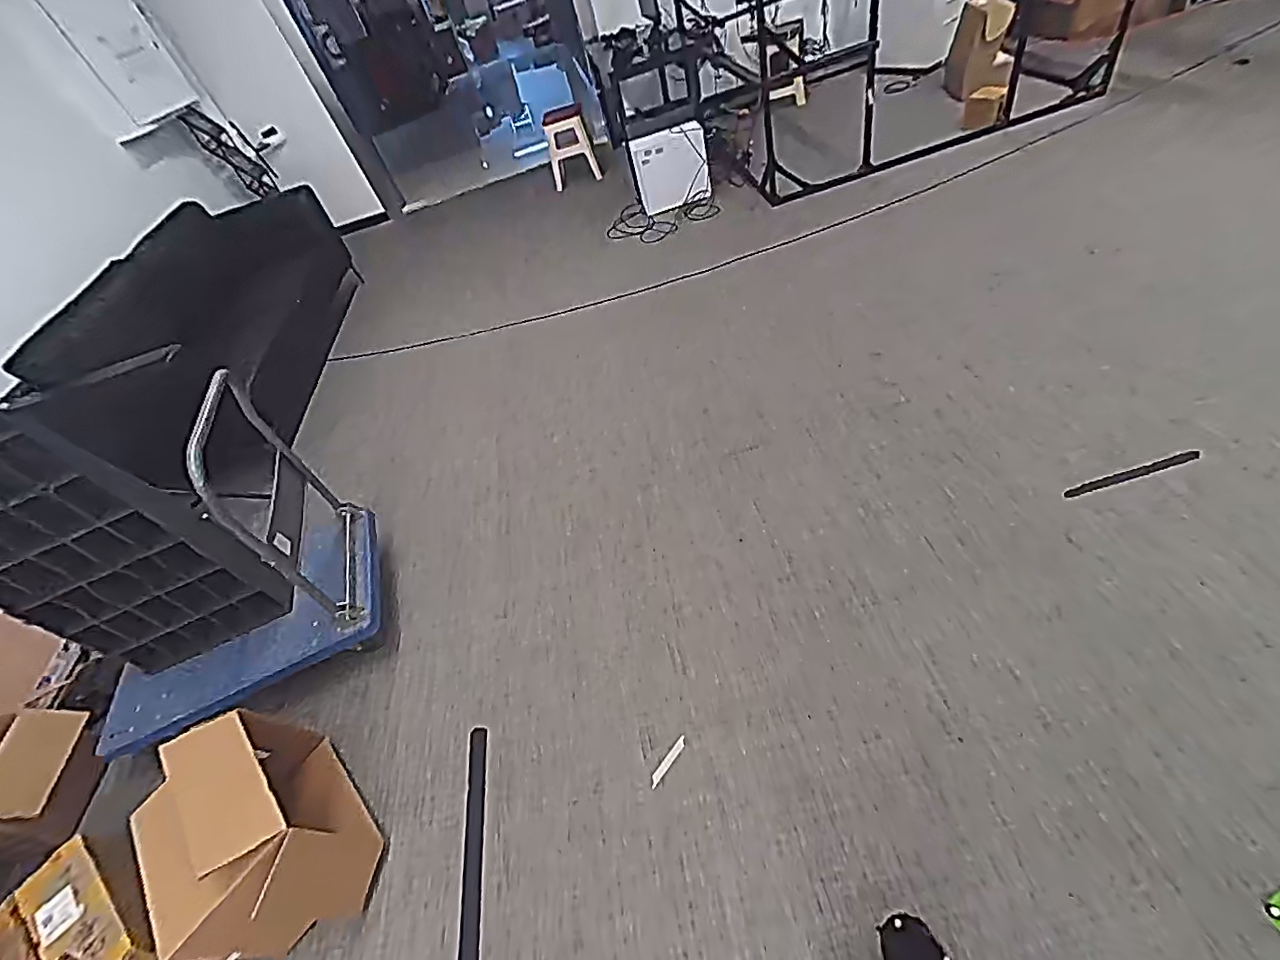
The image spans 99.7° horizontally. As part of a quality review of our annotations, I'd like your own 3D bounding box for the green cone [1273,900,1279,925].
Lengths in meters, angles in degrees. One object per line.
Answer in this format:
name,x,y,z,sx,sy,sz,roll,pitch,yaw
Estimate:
green cone,1.175,0.652,0.763,0.202,0.368,0.200,-28,46,-8
